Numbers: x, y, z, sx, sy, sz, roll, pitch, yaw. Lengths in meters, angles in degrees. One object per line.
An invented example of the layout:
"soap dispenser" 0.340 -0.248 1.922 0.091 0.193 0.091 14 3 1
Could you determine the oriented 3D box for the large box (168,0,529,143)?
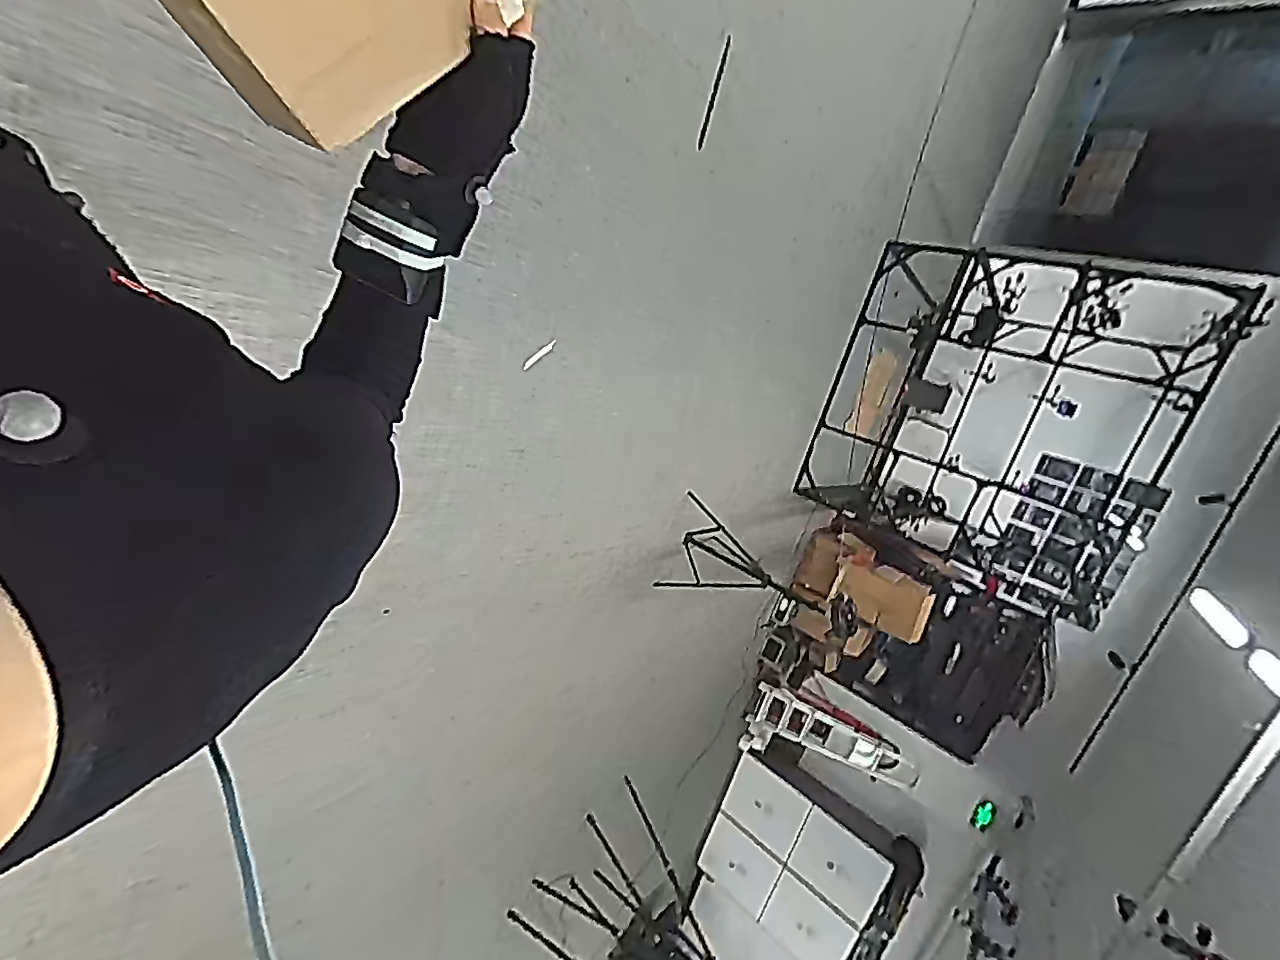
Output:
"large box" -0.258 -0.505 0.328 0.320 0.320 0.408 -43 139 -7
